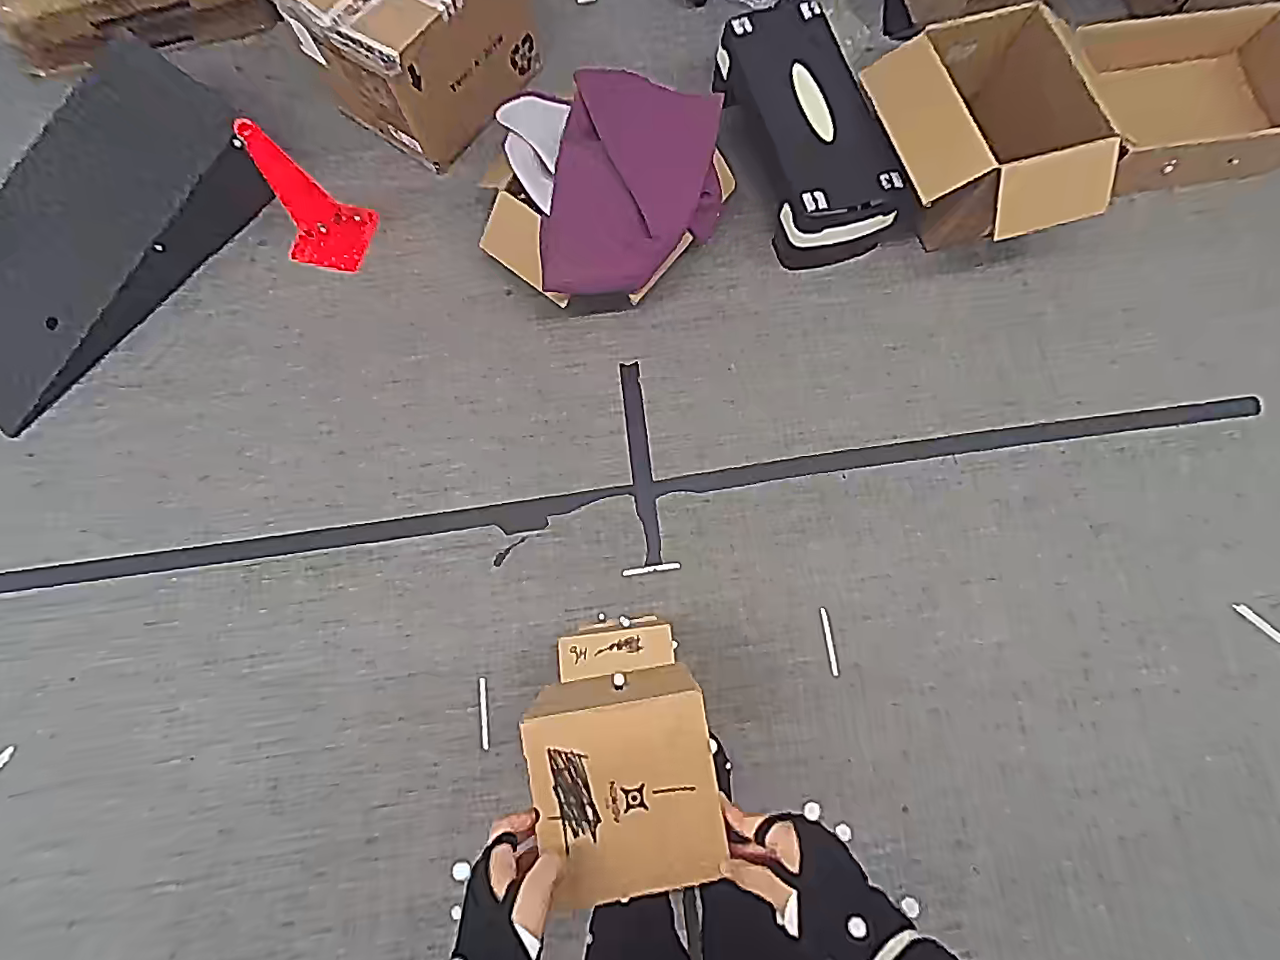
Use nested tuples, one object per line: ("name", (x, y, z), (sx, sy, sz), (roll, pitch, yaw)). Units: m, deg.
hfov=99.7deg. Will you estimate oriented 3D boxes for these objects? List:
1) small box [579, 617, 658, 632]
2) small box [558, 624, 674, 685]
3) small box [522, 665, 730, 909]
("small box", (-0.035, 0.392, 1.156), (0.168, 0.176, 0.179), (-8, 78, -1))
("small box", (-0.027, 0.324, 0.834), (0.168, 0.176, 0.179), (-7, 77, -1))
("small box", (-0.017, 0.306, 0.577), (0.179, 0.176, 0.168), (-8, 81, -4))
